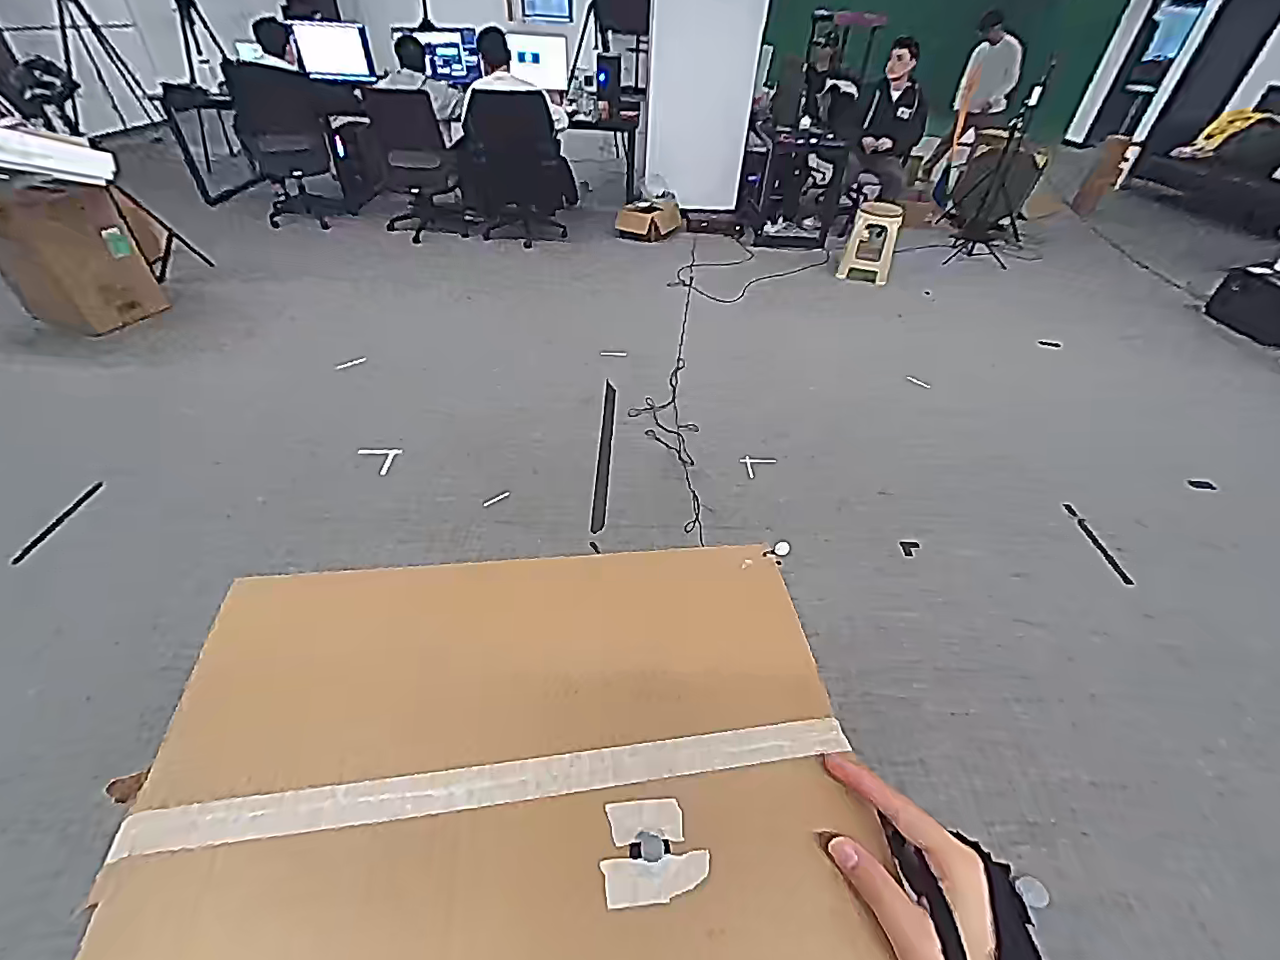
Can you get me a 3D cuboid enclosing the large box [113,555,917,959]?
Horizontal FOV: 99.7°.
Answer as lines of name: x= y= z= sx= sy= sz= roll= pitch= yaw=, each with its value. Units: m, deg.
large box: x=-0.081 y=0.286 z=0.434 sx=0.408 sy=0.320 sz=0.320 roll=-2 pitch=48 yaw=-11
